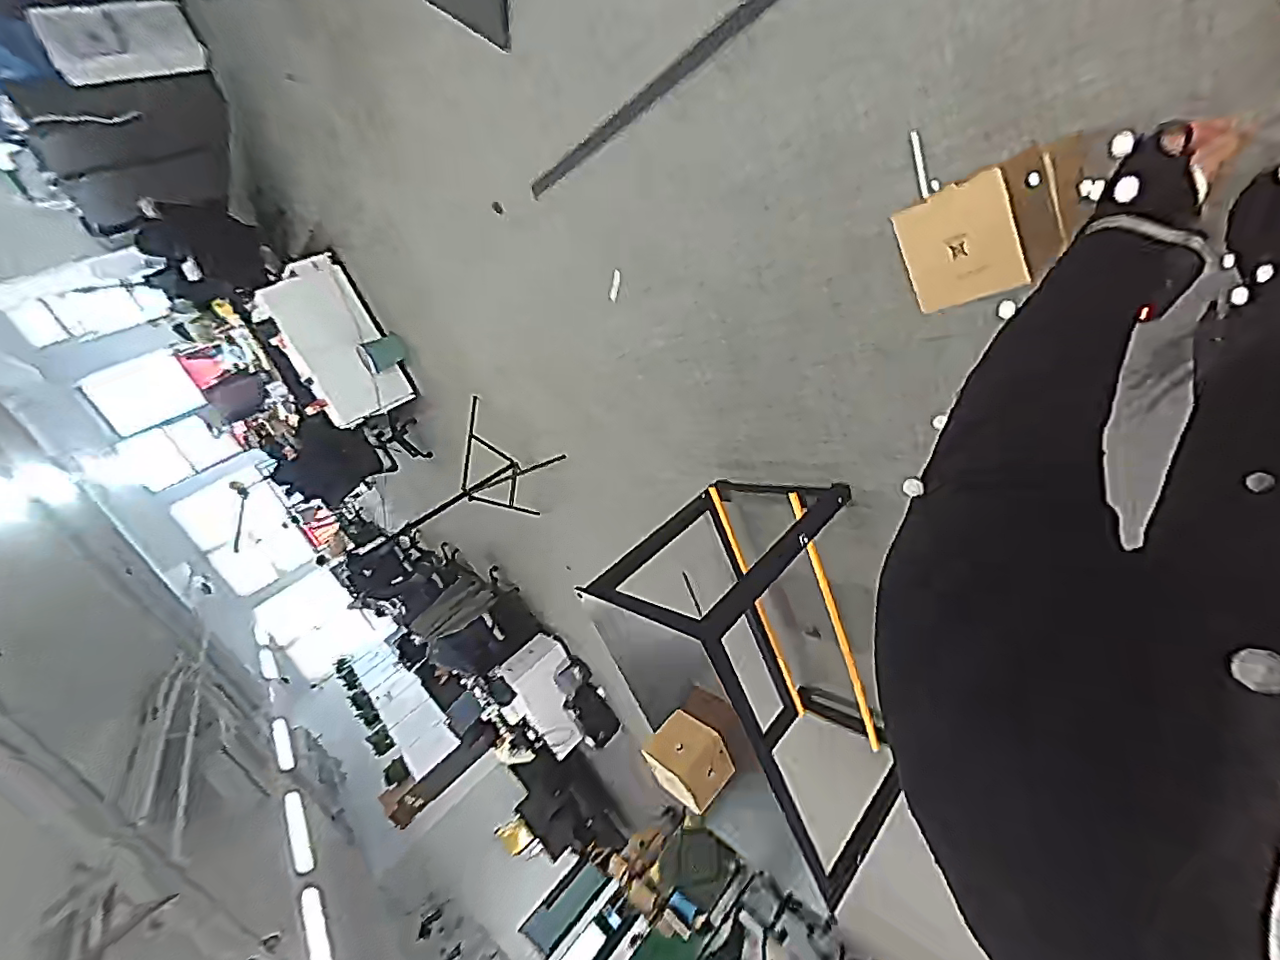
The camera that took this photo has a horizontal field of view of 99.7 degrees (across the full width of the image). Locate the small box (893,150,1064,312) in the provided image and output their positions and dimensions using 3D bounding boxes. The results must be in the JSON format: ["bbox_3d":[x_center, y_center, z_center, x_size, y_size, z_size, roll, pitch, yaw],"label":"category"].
[{"bbox_3d":[0.554,-0.407,0.884,0.168,0.176,0.179,-4,119,57],"label":"small box"}]

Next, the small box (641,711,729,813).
[{"bbox_3d":[0.140,0.818,1.589,0.179,0.176,0.168,7,126,52],"label":"small box"}]

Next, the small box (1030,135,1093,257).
[{"bbox_3d":[0.672,-0.481,0.969,0.179,0.176,0.168,0,121,54],"label":"small box"}]
